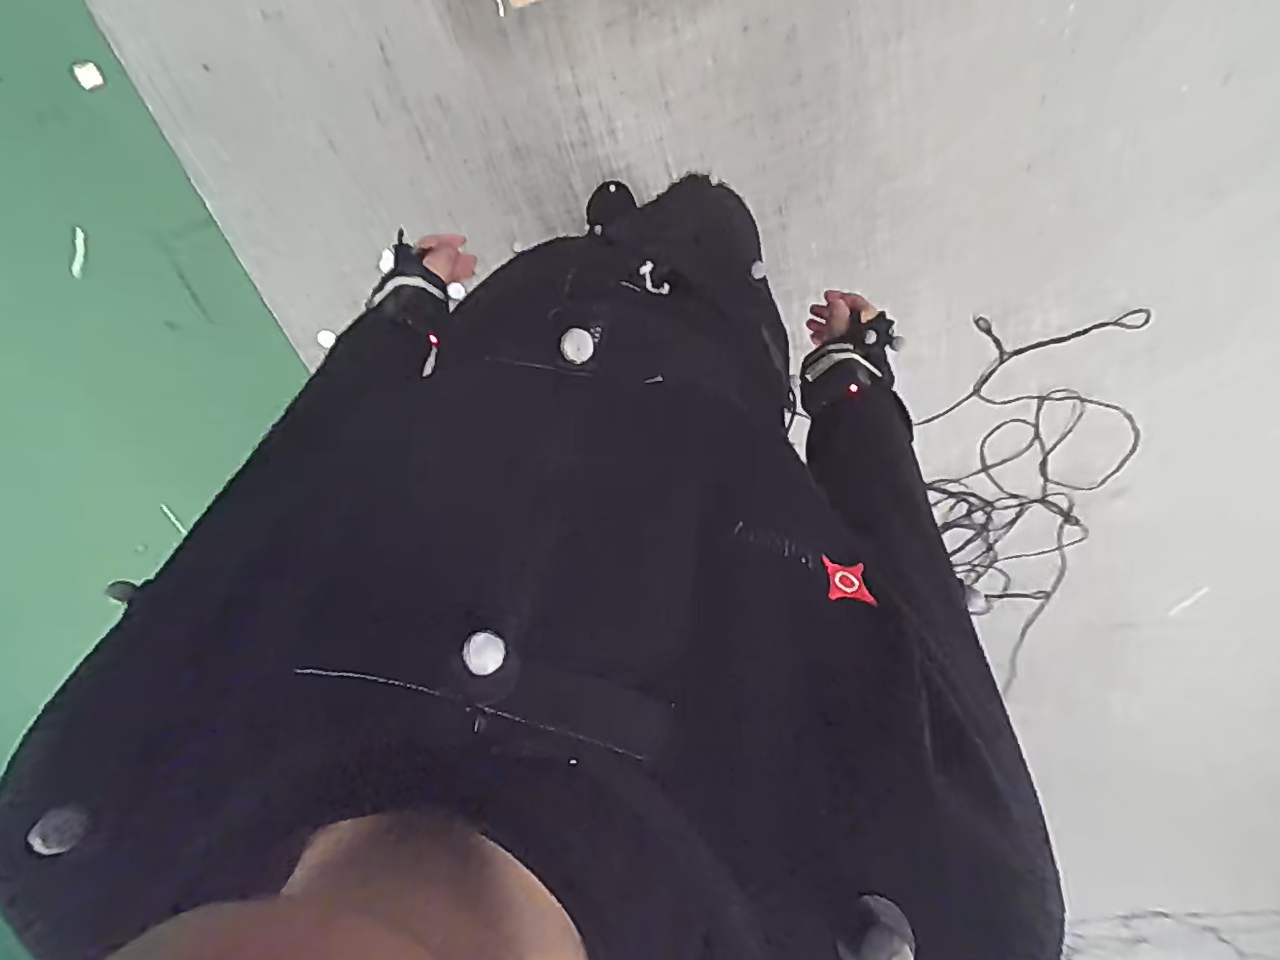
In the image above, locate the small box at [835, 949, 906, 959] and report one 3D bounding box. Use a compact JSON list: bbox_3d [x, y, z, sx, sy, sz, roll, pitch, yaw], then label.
[{"bbox_3d":[0.557,1.240,1.269,0.179,0.176,0.168,-9,120,5],"label":"small box"}]
